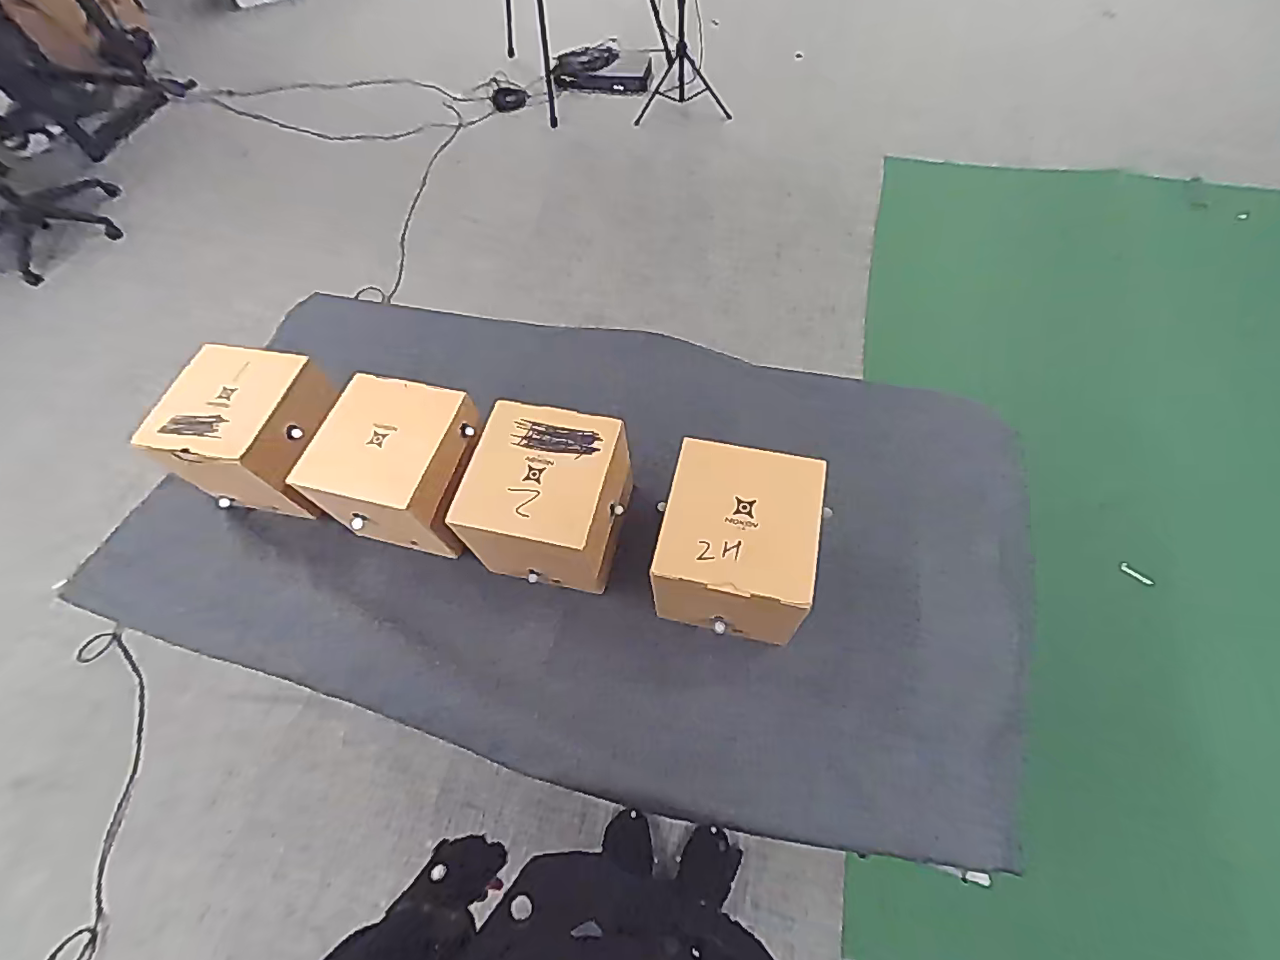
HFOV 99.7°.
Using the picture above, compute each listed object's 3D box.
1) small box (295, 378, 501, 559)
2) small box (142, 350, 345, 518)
[{"bbox_3d":[-0.312,-0.010,0.744,0.168,0.176,0.179,11,61,11],"label":"small box"},{"bbox_3d":[-0.538,-0.062,0.789,0.168,0.176,0.179,9,60,9],"label":"small box"}]
